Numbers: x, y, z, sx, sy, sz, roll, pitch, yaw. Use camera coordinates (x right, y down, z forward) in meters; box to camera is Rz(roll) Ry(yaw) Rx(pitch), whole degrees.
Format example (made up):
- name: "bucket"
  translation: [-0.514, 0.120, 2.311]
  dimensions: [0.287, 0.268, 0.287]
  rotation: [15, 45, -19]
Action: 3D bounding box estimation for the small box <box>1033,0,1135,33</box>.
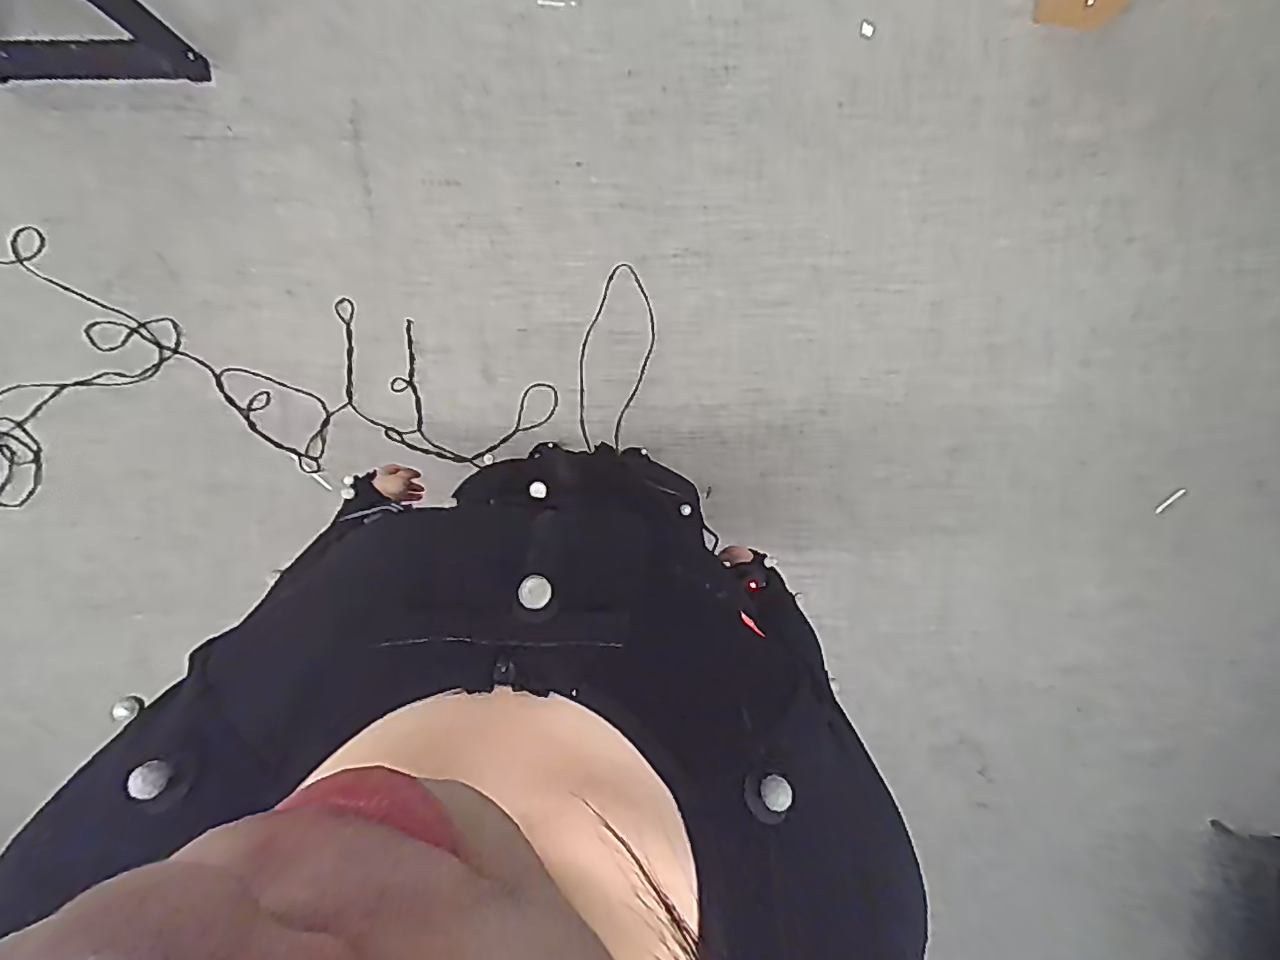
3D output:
- name: "small box"
  translation: [1.120, -1.245, 1.320]
  dimensions: [0.179, 0.176, 0.168]
  rotation: [10, 94, -1]
